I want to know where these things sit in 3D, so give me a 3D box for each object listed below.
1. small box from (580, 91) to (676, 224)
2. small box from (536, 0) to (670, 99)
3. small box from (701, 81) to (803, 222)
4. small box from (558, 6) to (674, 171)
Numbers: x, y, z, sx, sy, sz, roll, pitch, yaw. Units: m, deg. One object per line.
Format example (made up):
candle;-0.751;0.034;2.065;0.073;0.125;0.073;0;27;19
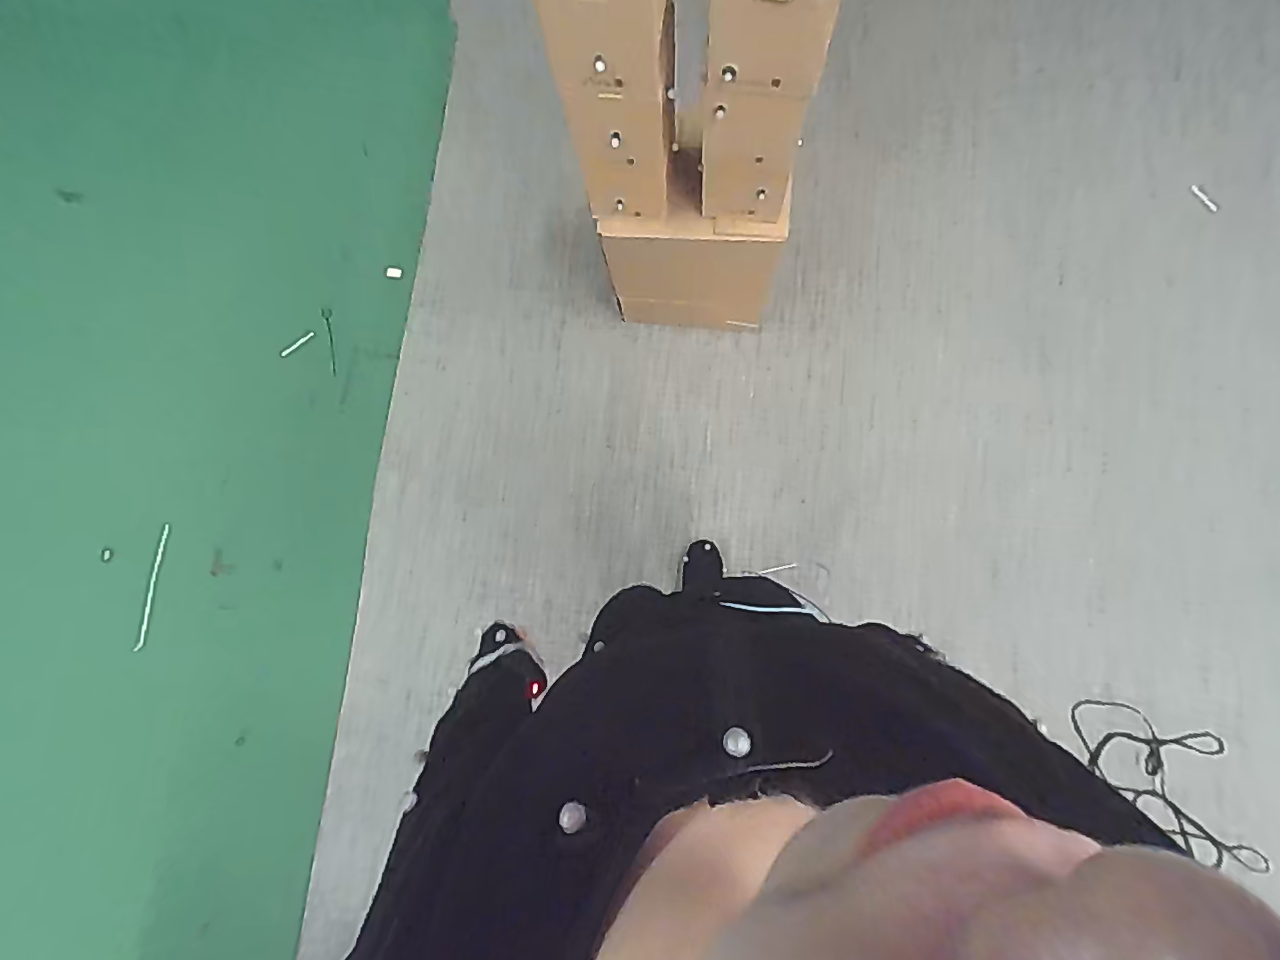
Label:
small box;-0.019;-0.655;1.101;0.168;0.176;0.179;6;84;5
small box;-0.048;-0.696;0.775;0.168;0.176;0.179;7;84;5
small box;0.217;-0.644;1.077;0.168;0.176;0.179;9;82;7
small box;-0.032;-0.671;0.938;0.168;0.176;0.179;7;84;5
